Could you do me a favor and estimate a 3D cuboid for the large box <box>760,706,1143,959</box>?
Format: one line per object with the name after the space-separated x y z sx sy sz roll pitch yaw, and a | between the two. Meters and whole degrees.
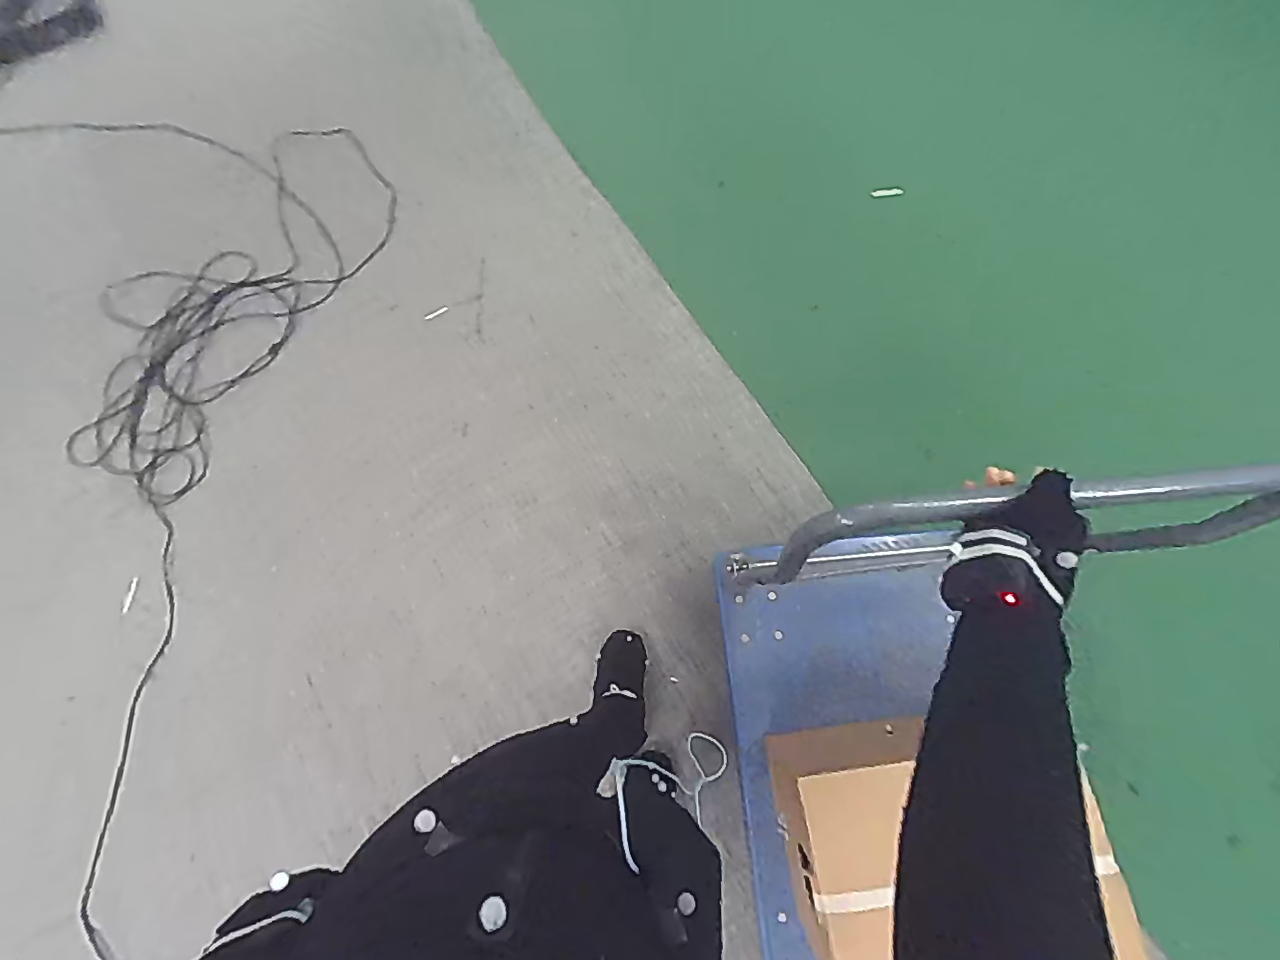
0.447 0.579 0.884 0.408 0.320 0.320 -9 75 0 | large box
